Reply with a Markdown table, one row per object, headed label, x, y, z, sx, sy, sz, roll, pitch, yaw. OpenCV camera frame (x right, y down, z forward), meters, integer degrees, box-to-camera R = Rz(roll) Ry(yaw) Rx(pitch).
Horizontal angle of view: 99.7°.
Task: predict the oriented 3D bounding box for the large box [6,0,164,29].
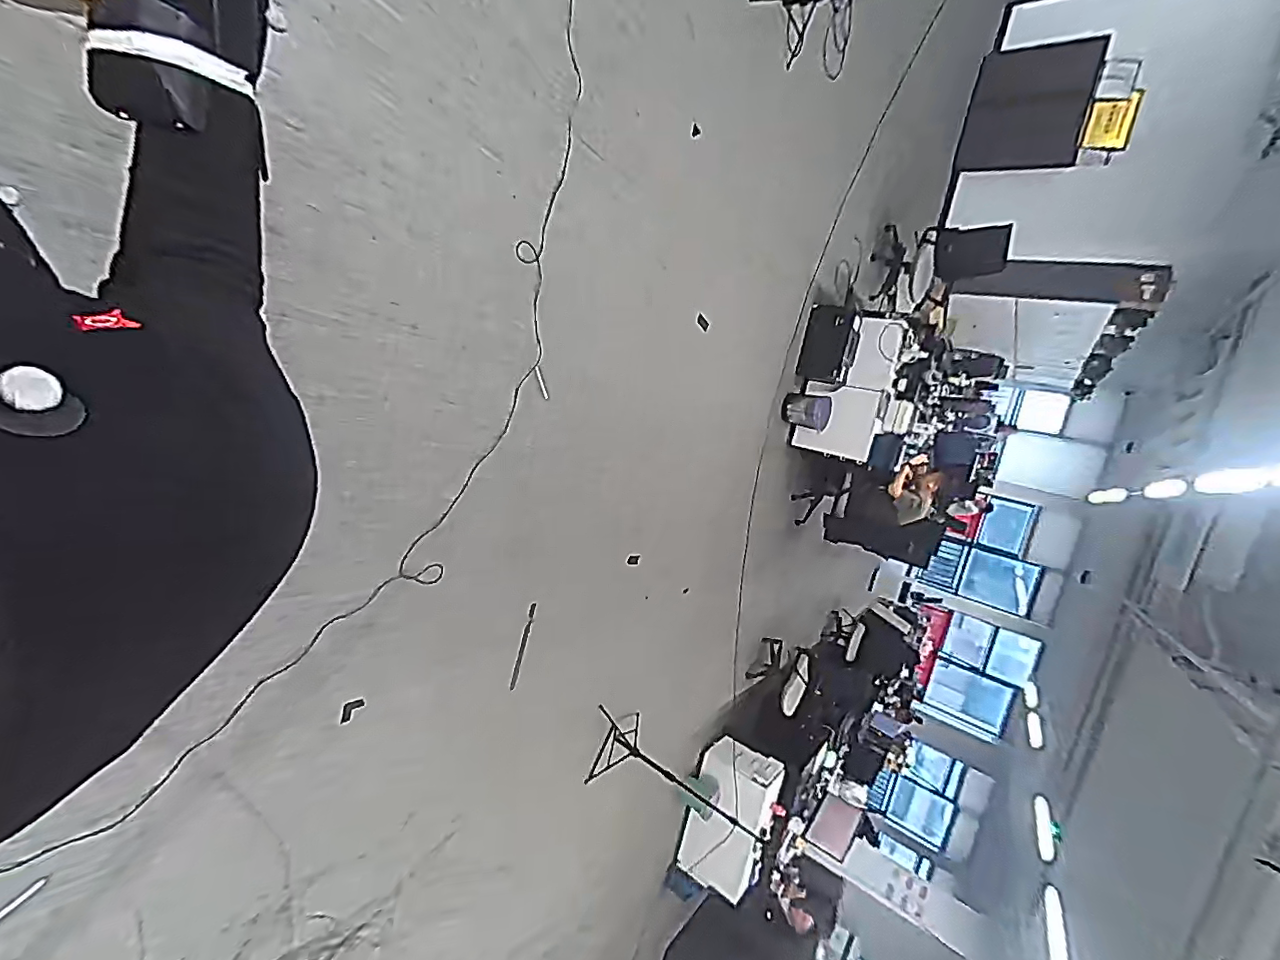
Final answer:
| label | x | y | z | sx | sy | sz | roll | pitch | yaw |
| --- | --- | --- | --- | --- | --- | --- | --- | --- | --- |
| large box | -0.497 | -0.470 | 0.210 | 0.408 | 0.320 | 0.320 | -12 | 128 | -56 |
